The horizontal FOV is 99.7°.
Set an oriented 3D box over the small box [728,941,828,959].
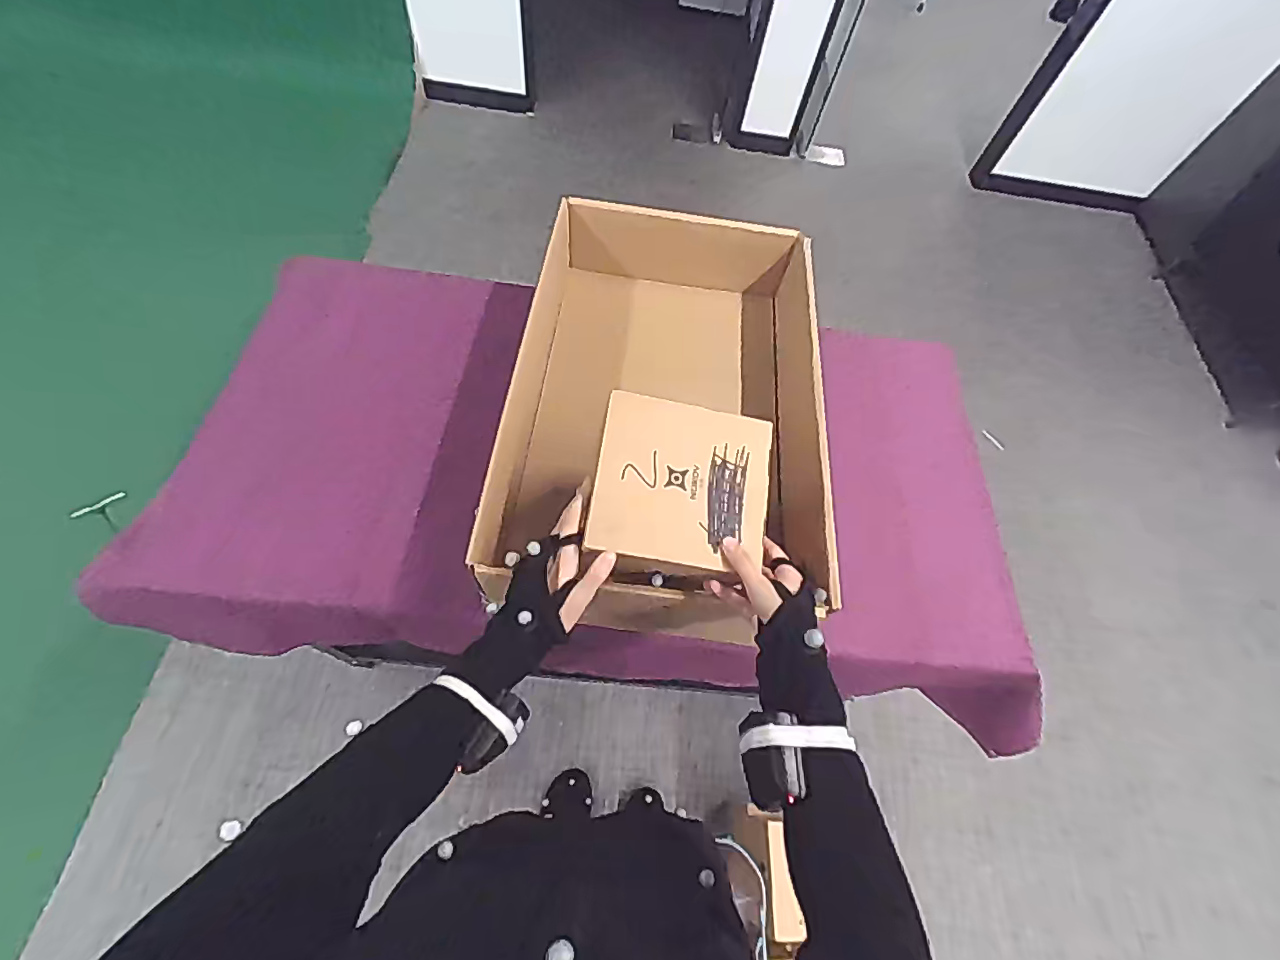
[{"bbox_3d":[0.276,1.029,1.056,0.179,0.176,0.168,3,61,-6],"label":"small box"}]
